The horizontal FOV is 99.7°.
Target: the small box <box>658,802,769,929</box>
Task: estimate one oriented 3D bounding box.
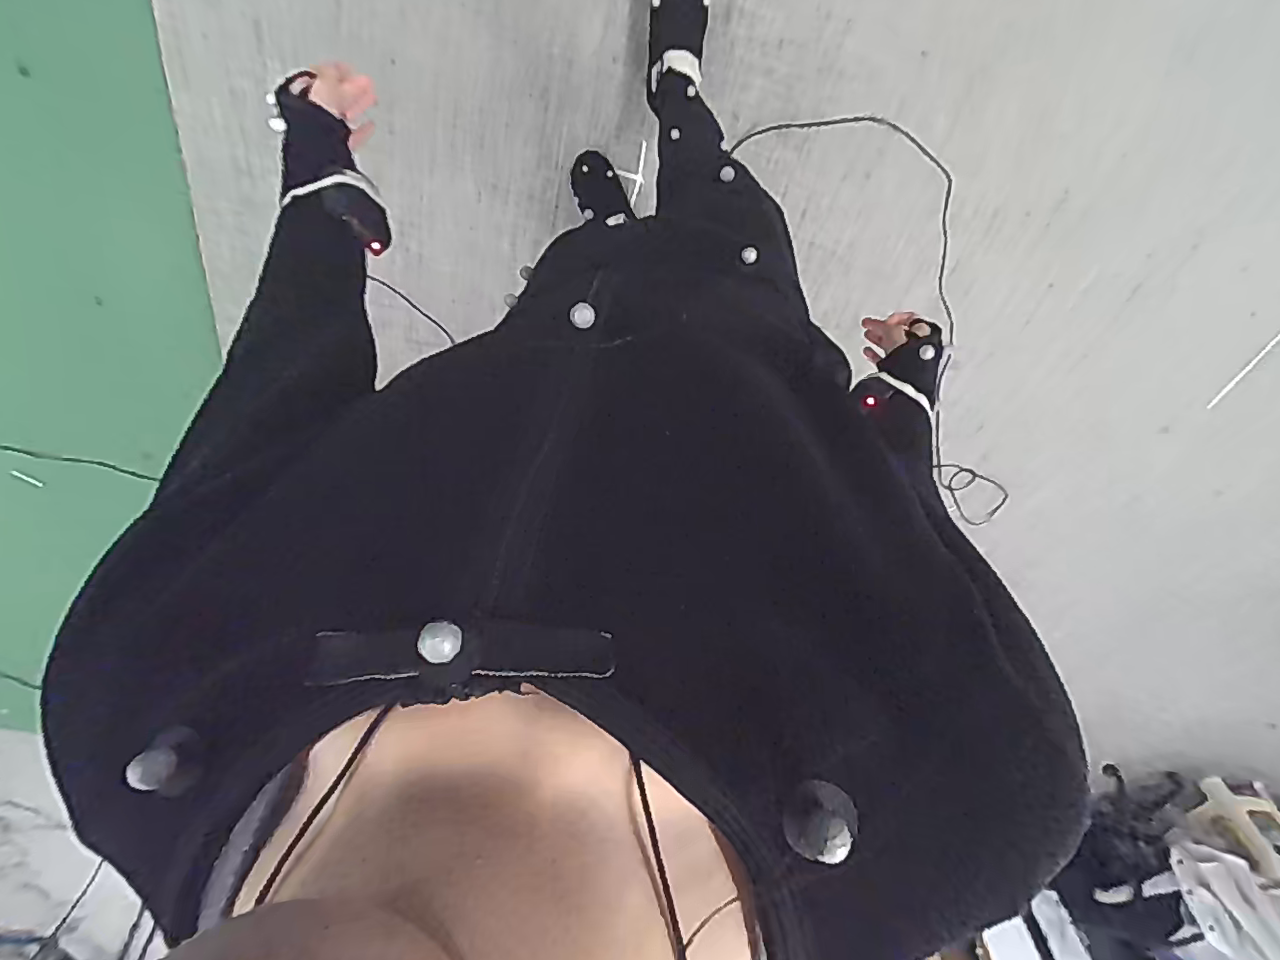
[{"bbox_3d":[0.145,0.798,1.127,0.179,0.176,0.168,14,126,-8],"label":"small box"}]
